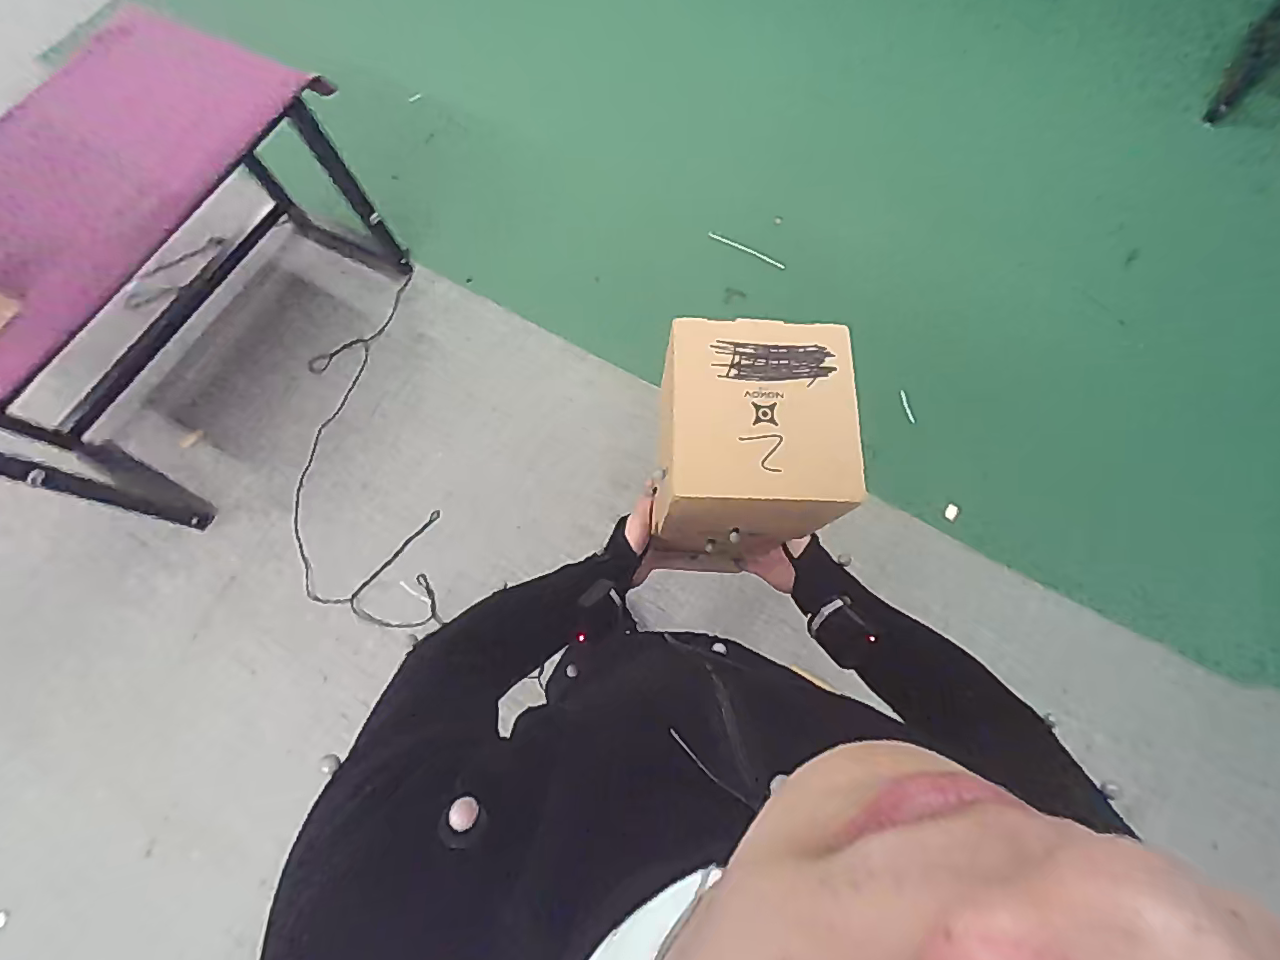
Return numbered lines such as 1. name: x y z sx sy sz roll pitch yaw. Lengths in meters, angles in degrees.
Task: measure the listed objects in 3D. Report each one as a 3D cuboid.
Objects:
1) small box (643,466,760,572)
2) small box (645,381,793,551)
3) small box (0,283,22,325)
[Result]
1. small box: 0.093 0.045 0.868 0.168 0.176 0.179 3 73 0
2. small box: 0.096 -0.008 0.710 0.168 0.176 0.179 5 72 -1
3. small box: -1.463 -0.389 1.109 0.179 0.176 0.168 26 76 11
